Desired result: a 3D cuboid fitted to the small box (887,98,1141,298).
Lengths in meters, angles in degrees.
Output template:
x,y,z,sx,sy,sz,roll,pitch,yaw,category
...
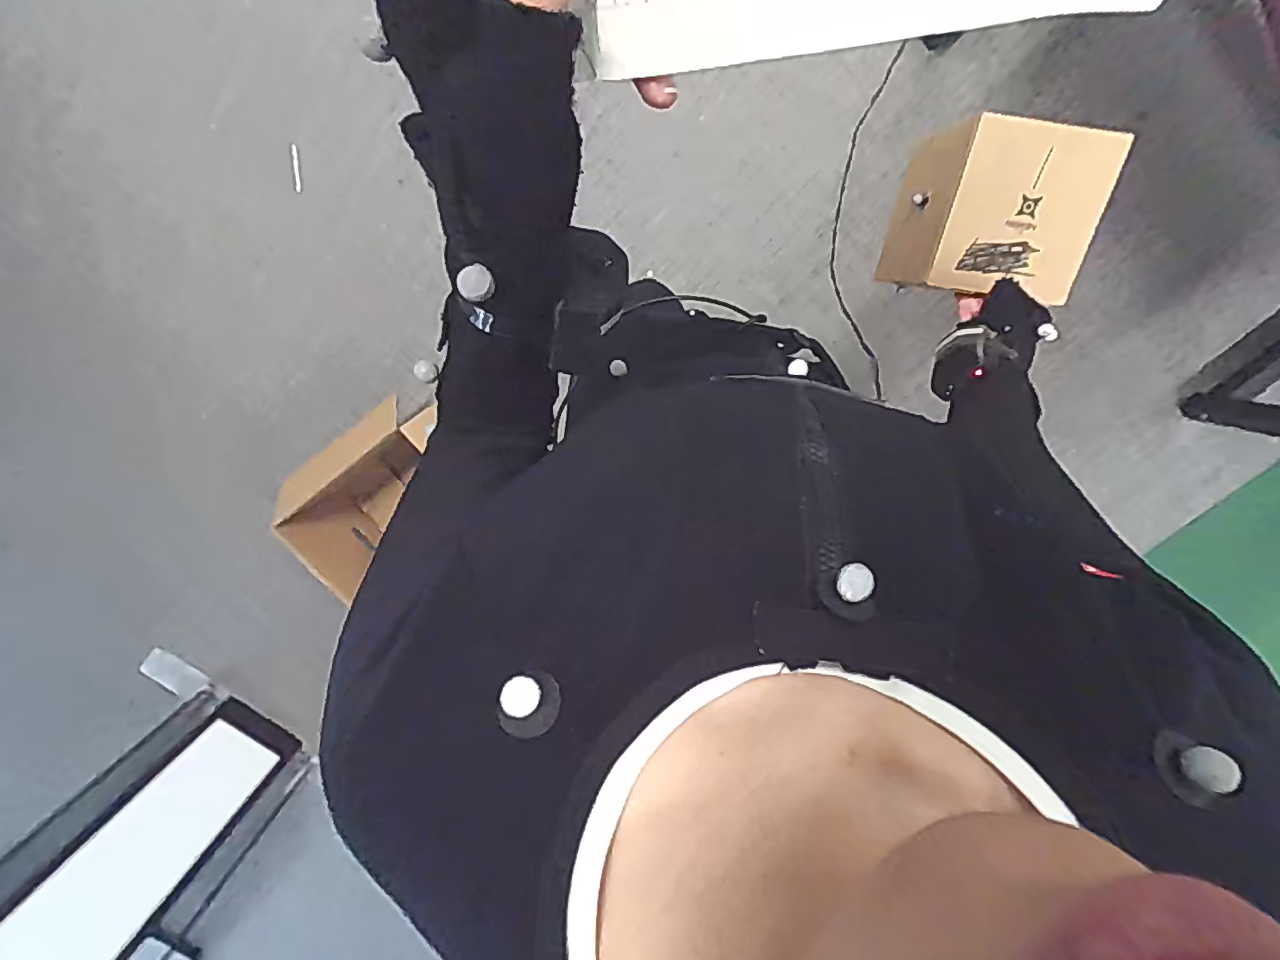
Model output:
x,y,z,sx,sy,sz,roll,pitch,yaw,category
0.428,-0.331,0.661,0.168,0.176,0.179,8,112,-1,small box
